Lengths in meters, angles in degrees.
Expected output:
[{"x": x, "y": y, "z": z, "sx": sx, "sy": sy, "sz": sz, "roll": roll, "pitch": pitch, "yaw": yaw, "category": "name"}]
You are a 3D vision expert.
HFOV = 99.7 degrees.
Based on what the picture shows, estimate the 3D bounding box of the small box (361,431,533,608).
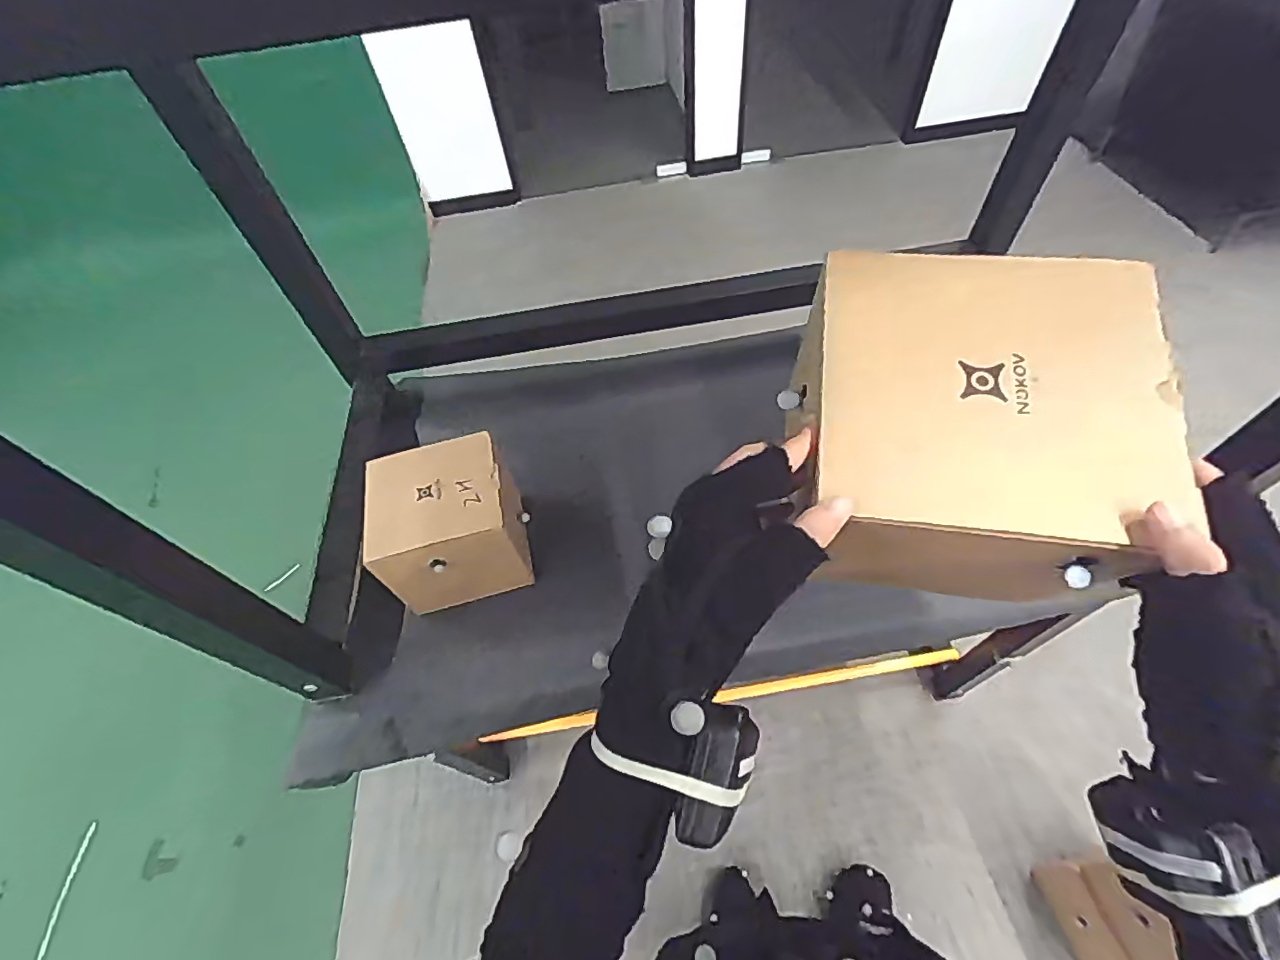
[{"x": -0.265, "y": 0.062, "z": 0.767, "sx": 0.179, "sy": 0.176, "sz": 0.168, "roll": -14, "pitch": 55, "yaw": -5, "category": "small box"}]

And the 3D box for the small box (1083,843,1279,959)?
[{"x": 0.895, "y": 0.715, "z": 0.884, "sx": 0.168, "sy": 0.176, "sz": 0.179, "roll": -12, "pitch": 53, "yaw": -3, "category": "small box"}]
